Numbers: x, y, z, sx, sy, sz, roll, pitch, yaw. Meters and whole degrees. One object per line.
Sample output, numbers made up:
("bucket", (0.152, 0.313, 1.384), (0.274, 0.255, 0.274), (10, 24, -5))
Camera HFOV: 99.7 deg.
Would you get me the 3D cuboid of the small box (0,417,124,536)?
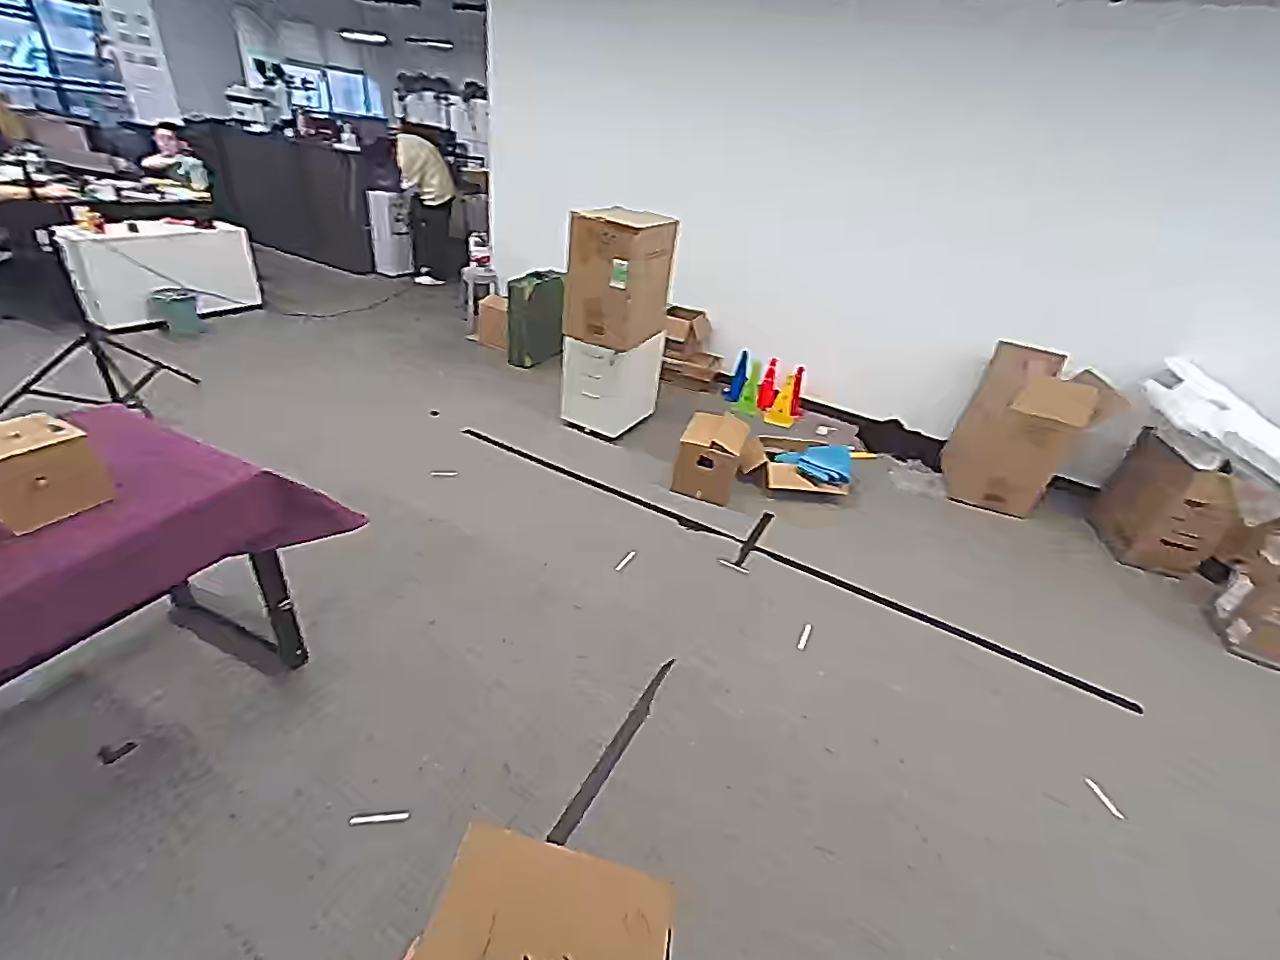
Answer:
("small box", (-1.271, -0.008, 1.148), (0.168, 0.176, 0.179), (19, 34, 16))
